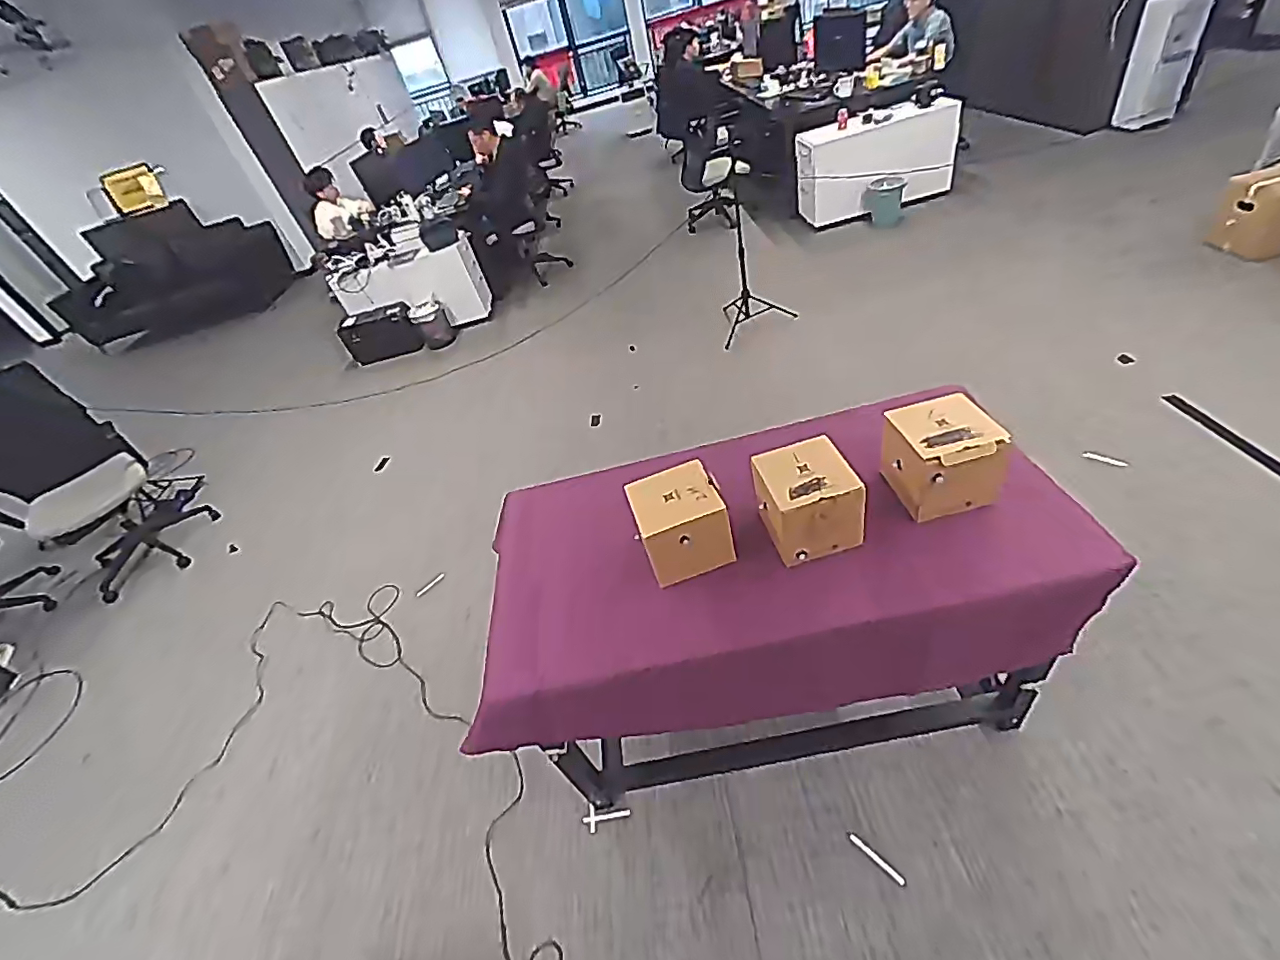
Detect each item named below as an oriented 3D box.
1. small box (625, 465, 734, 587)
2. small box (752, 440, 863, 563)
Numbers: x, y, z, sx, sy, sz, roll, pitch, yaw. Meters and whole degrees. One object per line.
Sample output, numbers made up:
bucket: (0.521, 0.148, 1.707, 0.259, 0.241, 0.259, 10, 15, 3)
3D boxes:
small box: (0.086, 0.101, 1.153, 0.179, 0.176, 0.168, -19, 41, -3)
small box: (0.344, 0.050, 1.119, 0.168, 0.176, 0.179, -17, 40, 1)
